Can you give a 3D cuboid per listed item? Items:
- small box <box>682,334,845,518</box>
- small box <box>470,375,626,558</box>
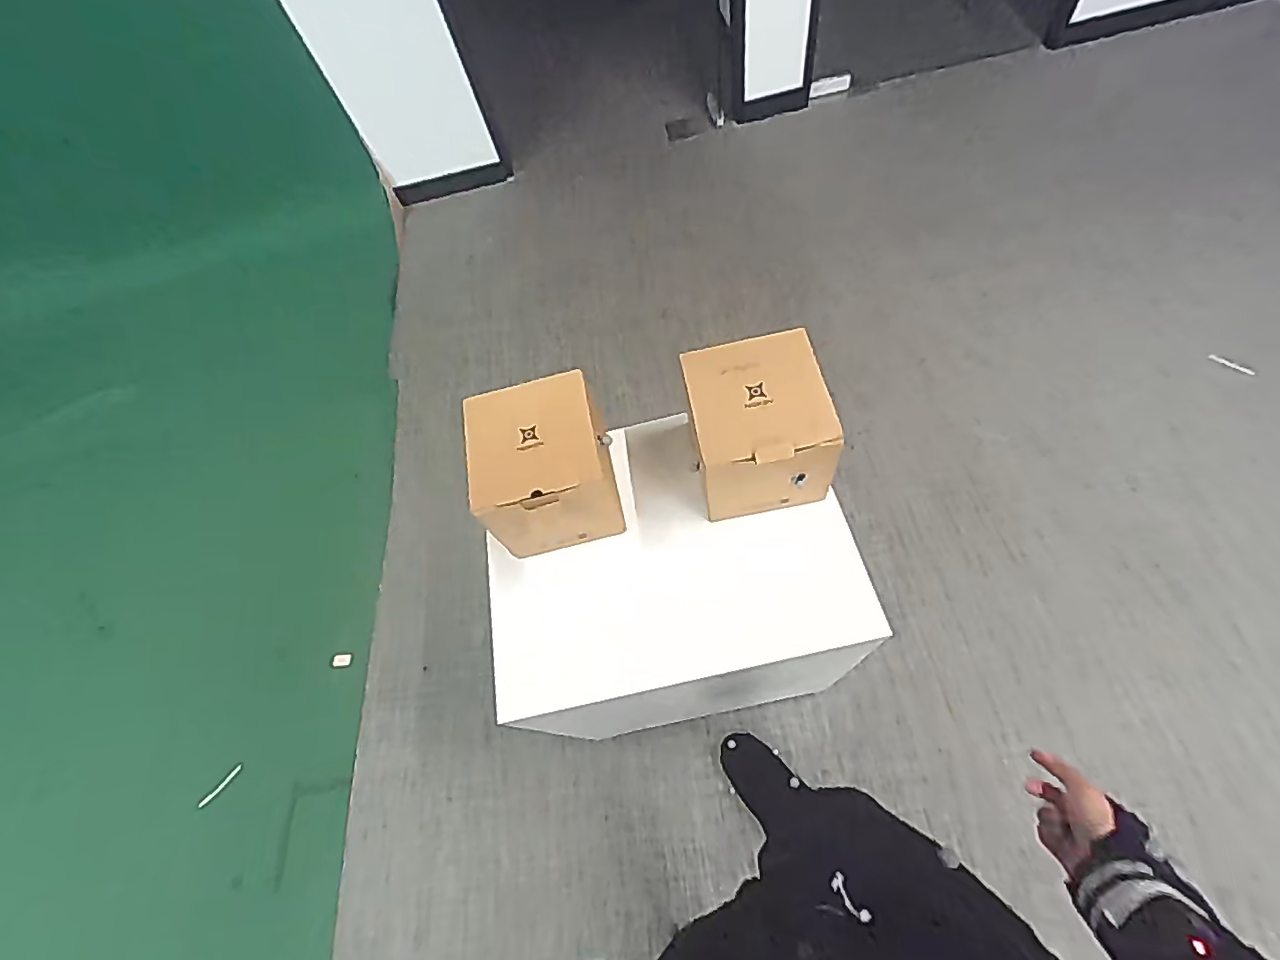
[{"bbox_3d":[0.157,-0.061,0.725,0.168,0.176,0.179,-11,61,4],"label":"small box"},{"bbox_3d":[-0.122,-0.013,0.750,0.168,0.176,0.179,-14,63,2],"label":"small box"}]
